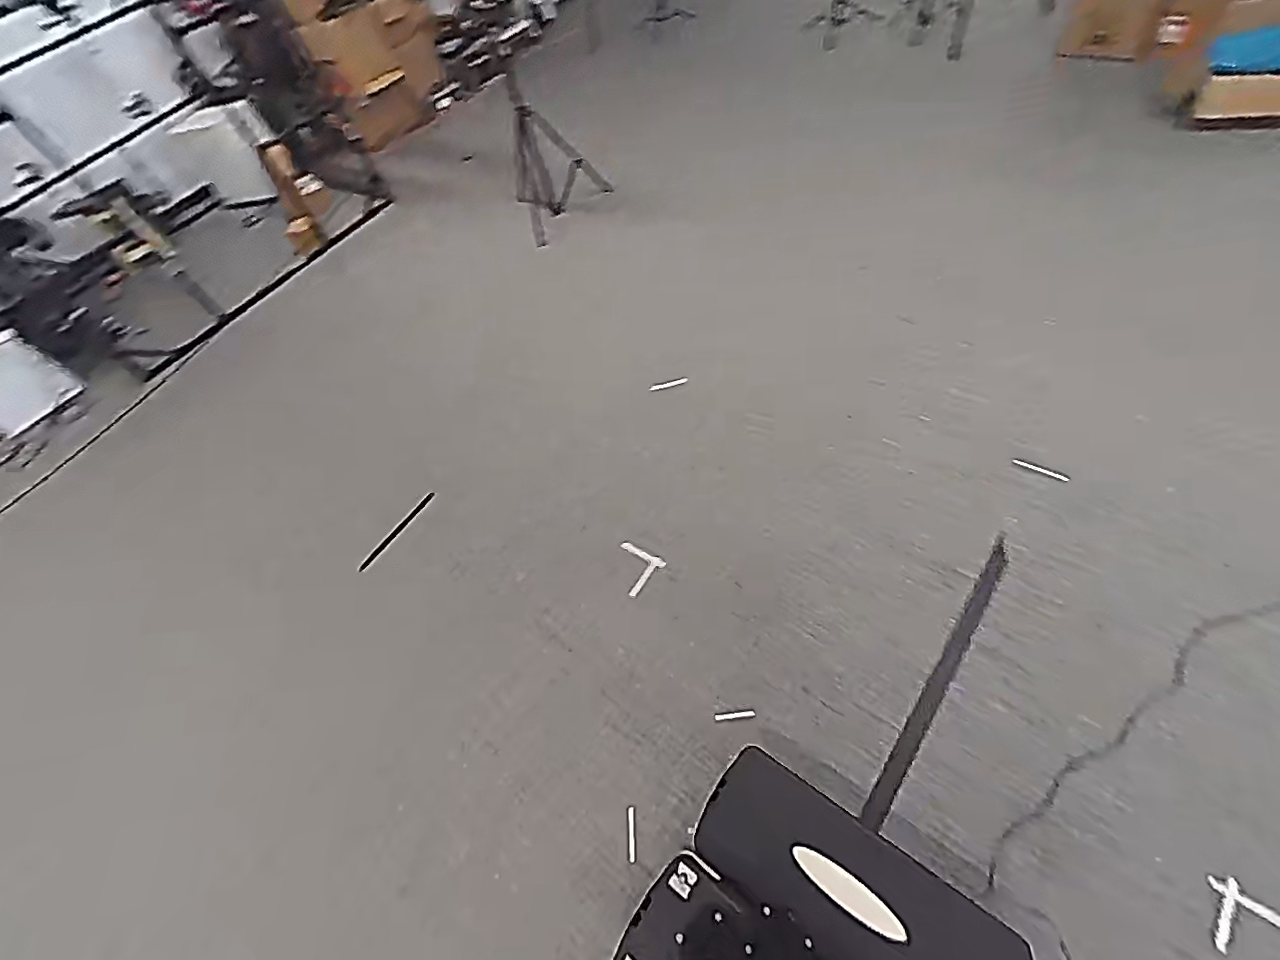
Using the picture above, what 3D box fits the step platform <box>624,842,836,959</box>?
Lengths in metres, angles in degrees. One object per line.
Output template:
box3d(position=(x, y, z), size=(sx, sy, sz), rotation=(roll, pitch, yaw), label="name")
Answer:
box3d(position=(0.300, 1.068, 1.063), size=(0.684, 0.204, 0.286), rotation=(25, 65, 30), label="step platform")
